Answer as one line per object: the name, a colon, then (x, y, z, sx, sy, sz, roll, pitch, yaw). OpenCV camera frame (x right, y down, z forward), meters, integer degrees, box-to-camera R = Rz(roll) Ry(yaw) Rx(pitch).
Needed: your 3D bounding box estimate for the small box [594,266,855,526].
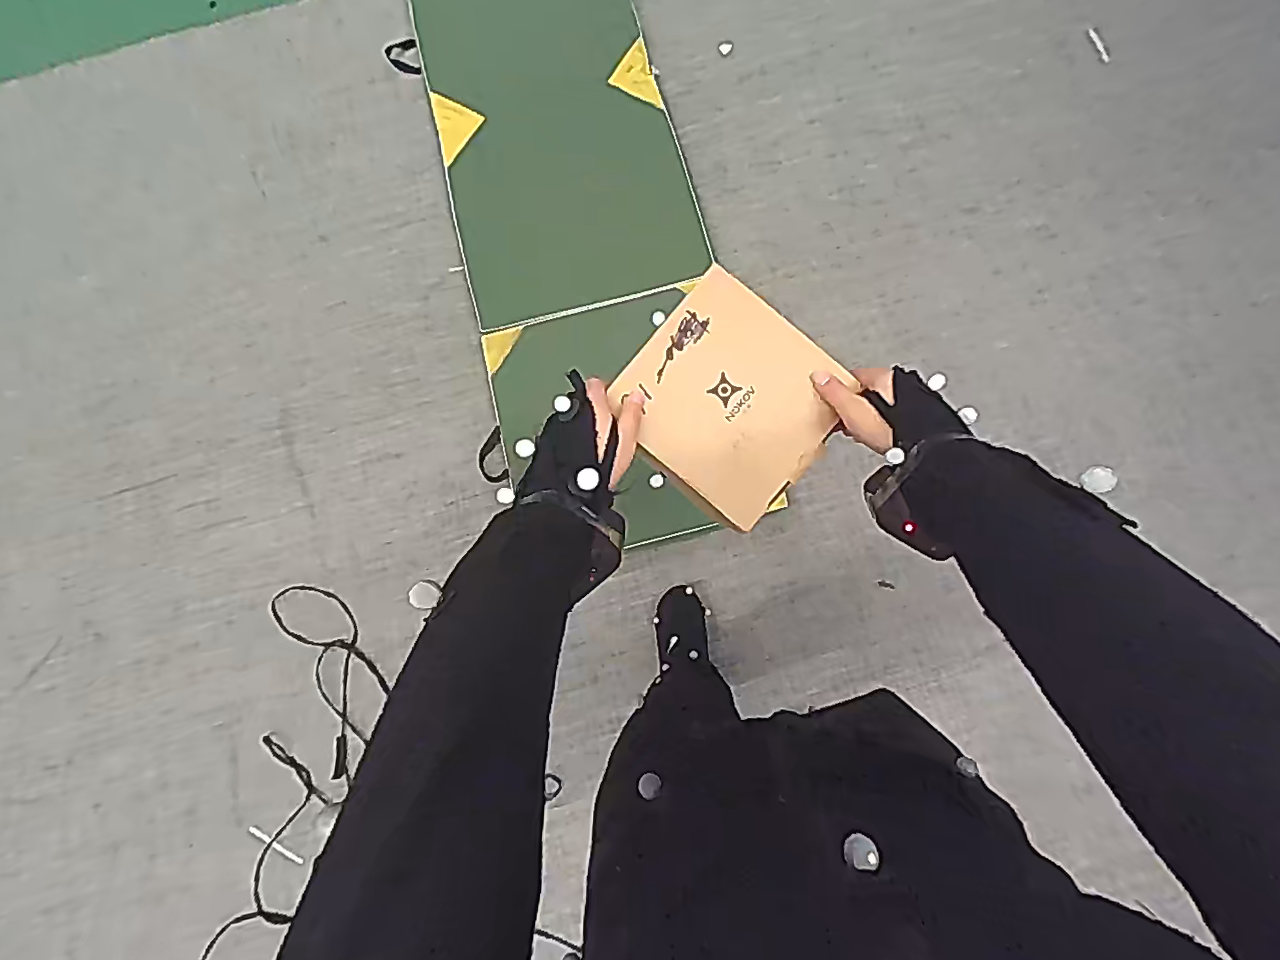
small box: (0.075, -0.075, 0.557, 0.179, 0.176, 0.168, 40, 89, 0)
